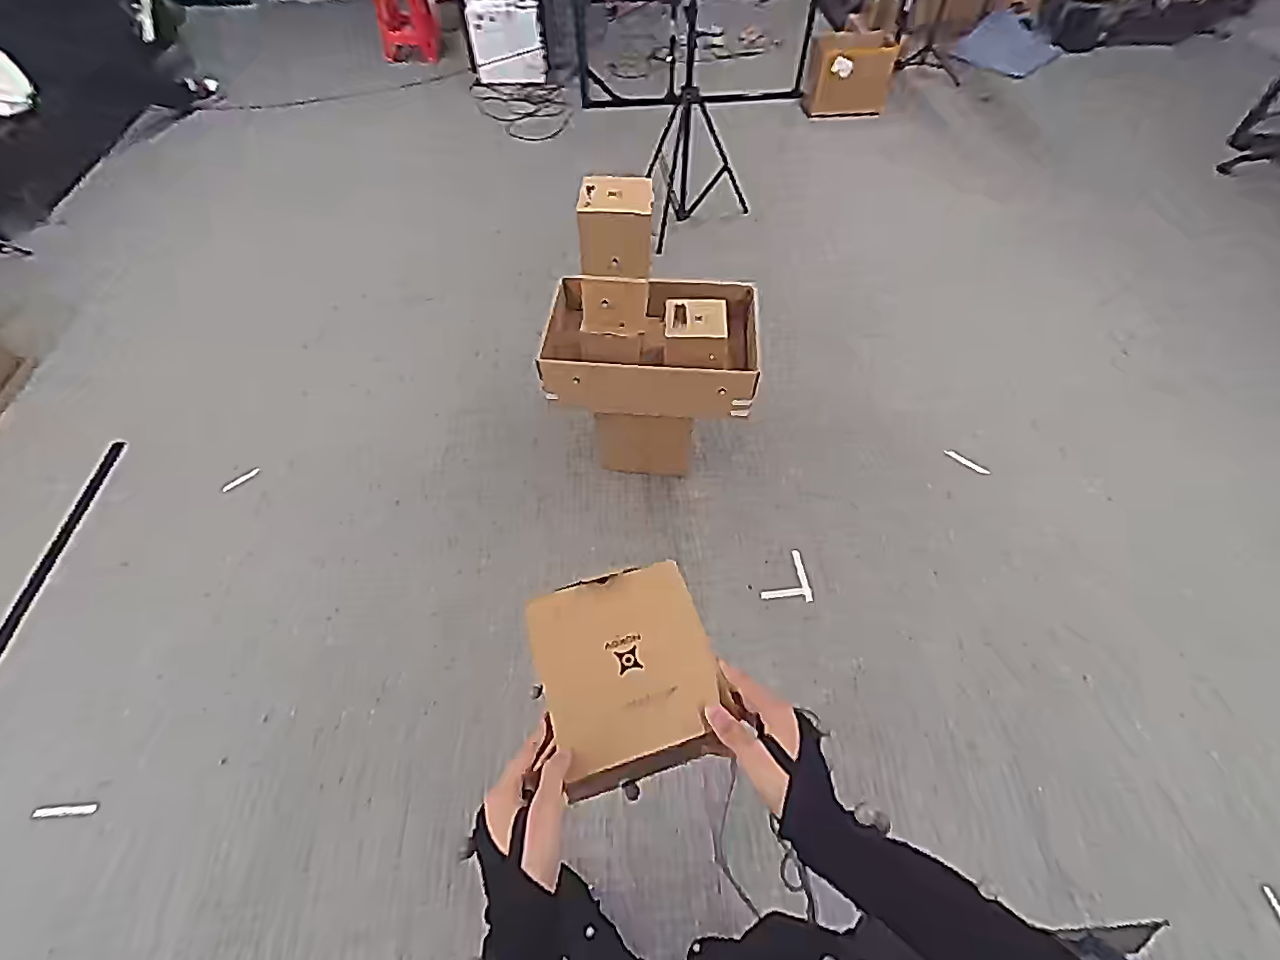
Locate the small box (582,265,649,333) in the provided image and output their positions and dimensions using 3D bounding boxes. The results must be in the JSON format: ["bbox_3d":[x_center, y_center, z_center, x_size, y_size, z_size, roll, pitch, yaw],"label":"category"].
[{"bbox_3d":[-0.061,-0.524,1.479,0.168,0.176,0.179,4,55,1],"label":"small box"}]

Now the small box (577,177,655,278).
[{"bbox_3d":[-0.058,-0.625,1.350,0.179,0.176,0.168,3,54,0],"label":"small box"}]

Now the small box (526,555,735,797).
[{"bbox_3d":[-0.022,0.210,0.580,0.168,0.176,0.179,-12,55,-14],"label":"small box"}]
